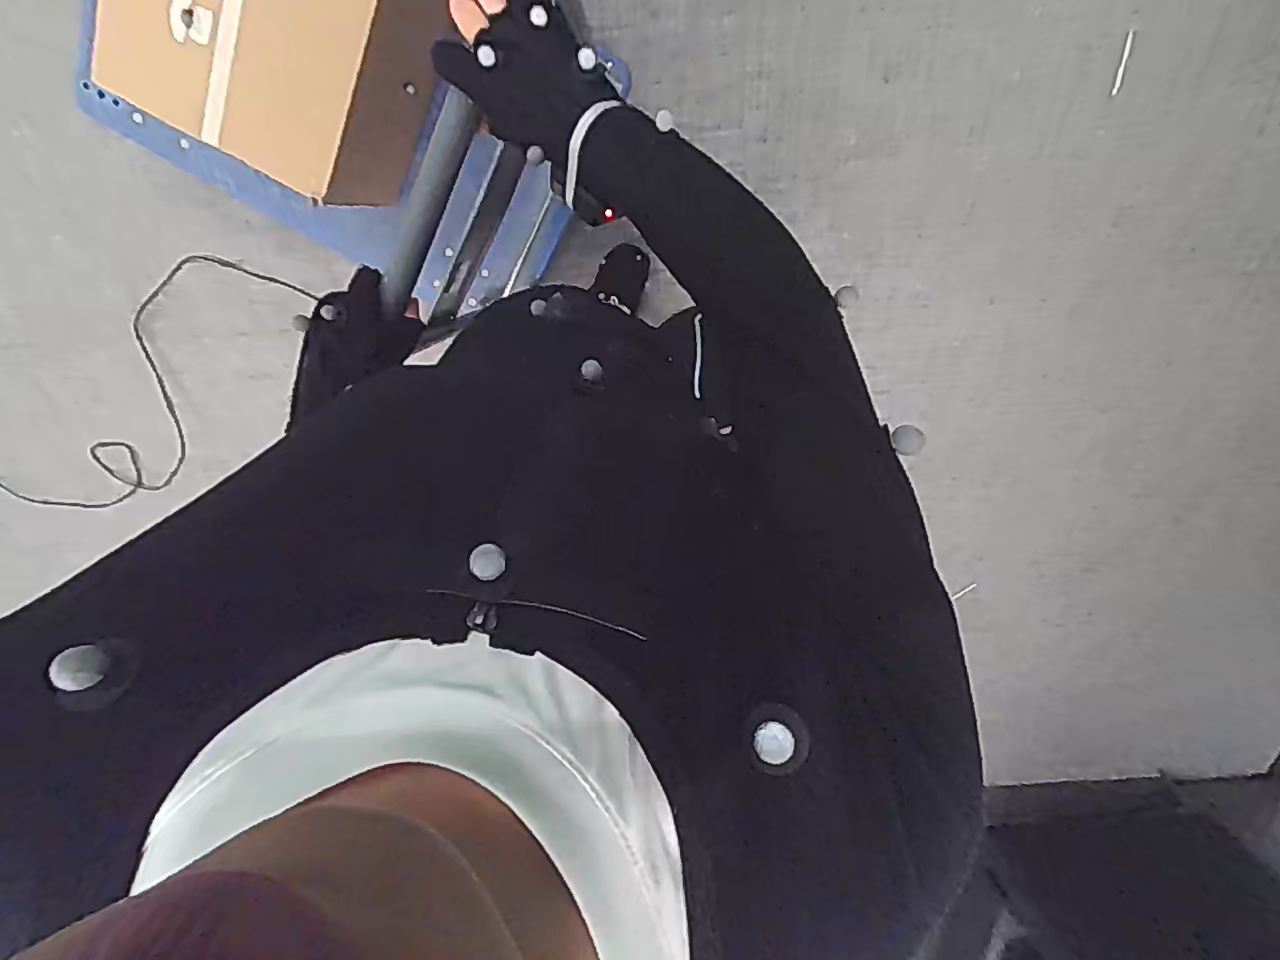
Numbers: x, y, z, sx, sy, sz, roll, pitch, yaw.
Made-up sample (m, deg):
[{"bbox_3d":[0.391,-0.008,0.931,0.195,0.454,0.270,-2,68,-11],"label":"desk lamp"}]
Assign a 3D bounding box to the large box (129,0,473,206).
[{"bbox_3d":[-0.503,-0.712,0.857,0.320,0.320,0.408,26,114,-13],"label":"large box"}]
